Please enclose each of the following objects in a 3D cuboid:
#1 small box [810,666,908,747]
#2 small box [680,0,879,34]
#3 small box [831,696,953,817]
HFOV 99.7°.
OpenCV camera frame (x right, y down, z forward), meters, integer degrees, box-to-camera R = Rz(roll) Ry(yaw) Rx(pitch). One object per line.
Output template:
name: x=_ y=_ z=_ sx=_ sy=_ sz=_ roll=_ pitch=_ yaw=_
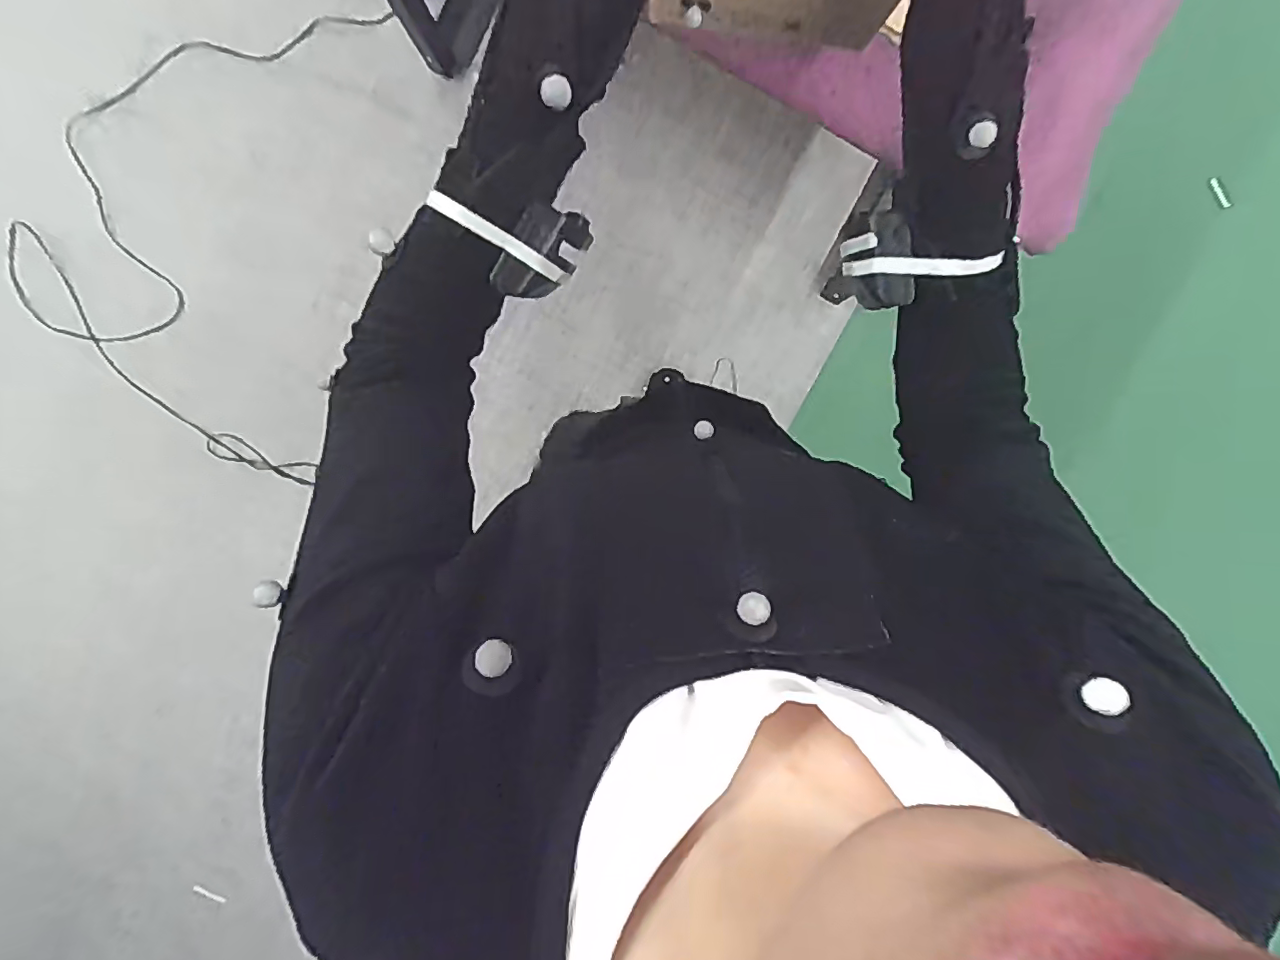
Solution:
small box: x=0.594 y=0.635 z=1.461 sx=0.179 sy=0.176 sz=0.168 roll=26 pitch=96 yaw=-3
small box: x=0.097 y=-0.406 z=0.310 sx=0.168 sy=0.176 sz=0.179 roll=7 pitch=103 yaw=-1
small box: x=0.595 y=0.653 z=1.300 sx=0.179 sy=0.176 sz=0.168 roll=24 pitch=97 yaw=-2
